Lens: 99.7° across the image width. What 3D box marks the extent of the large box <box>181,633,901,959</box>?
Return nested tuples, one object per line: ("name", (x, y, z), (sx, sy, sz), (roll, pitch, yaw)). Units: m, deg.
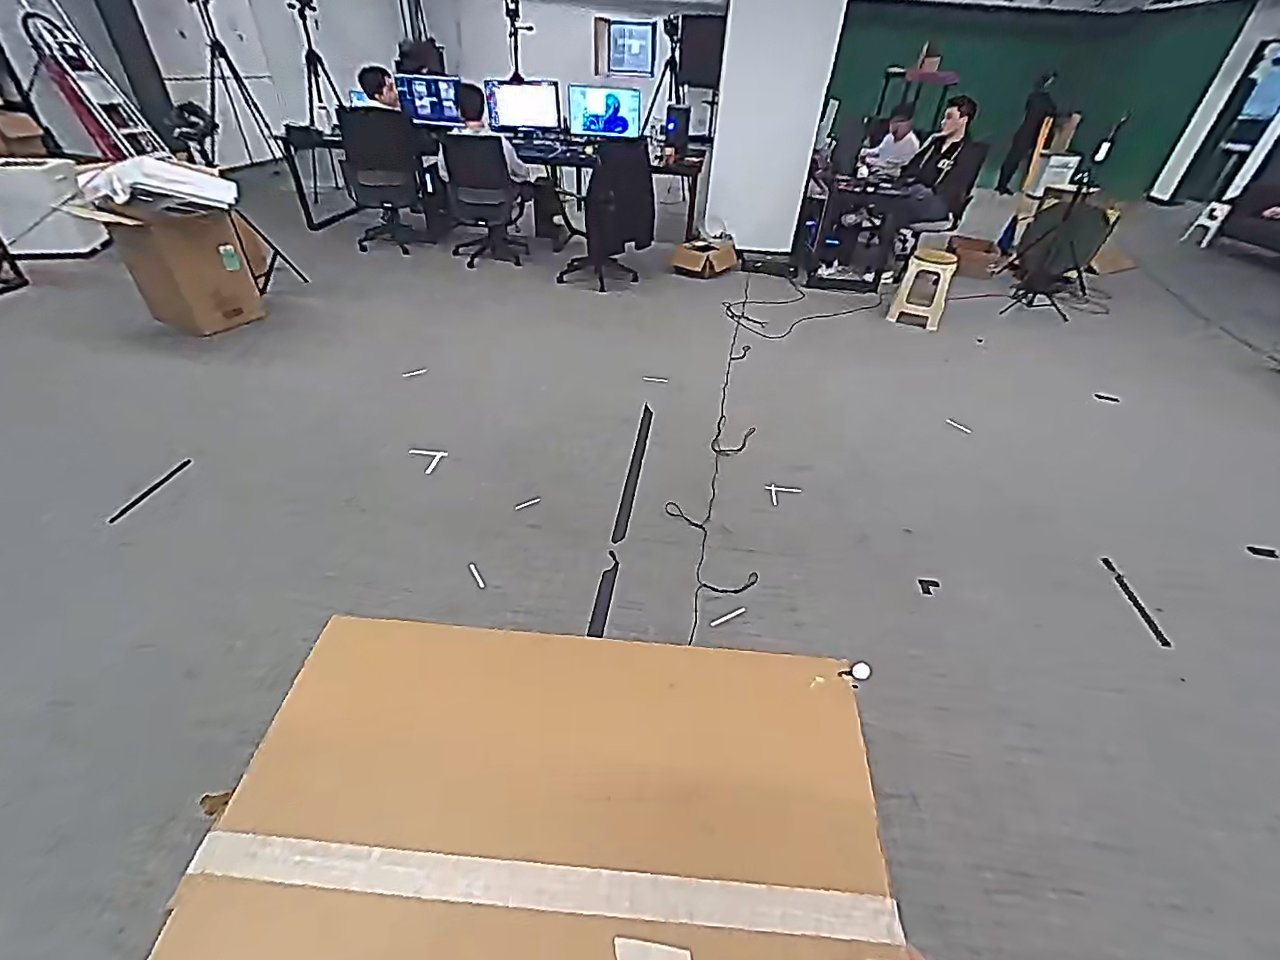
("large box", (-0.055, 0.347, 0.428), (0.408, 0.320, 0.320), (5, 47, 2))
